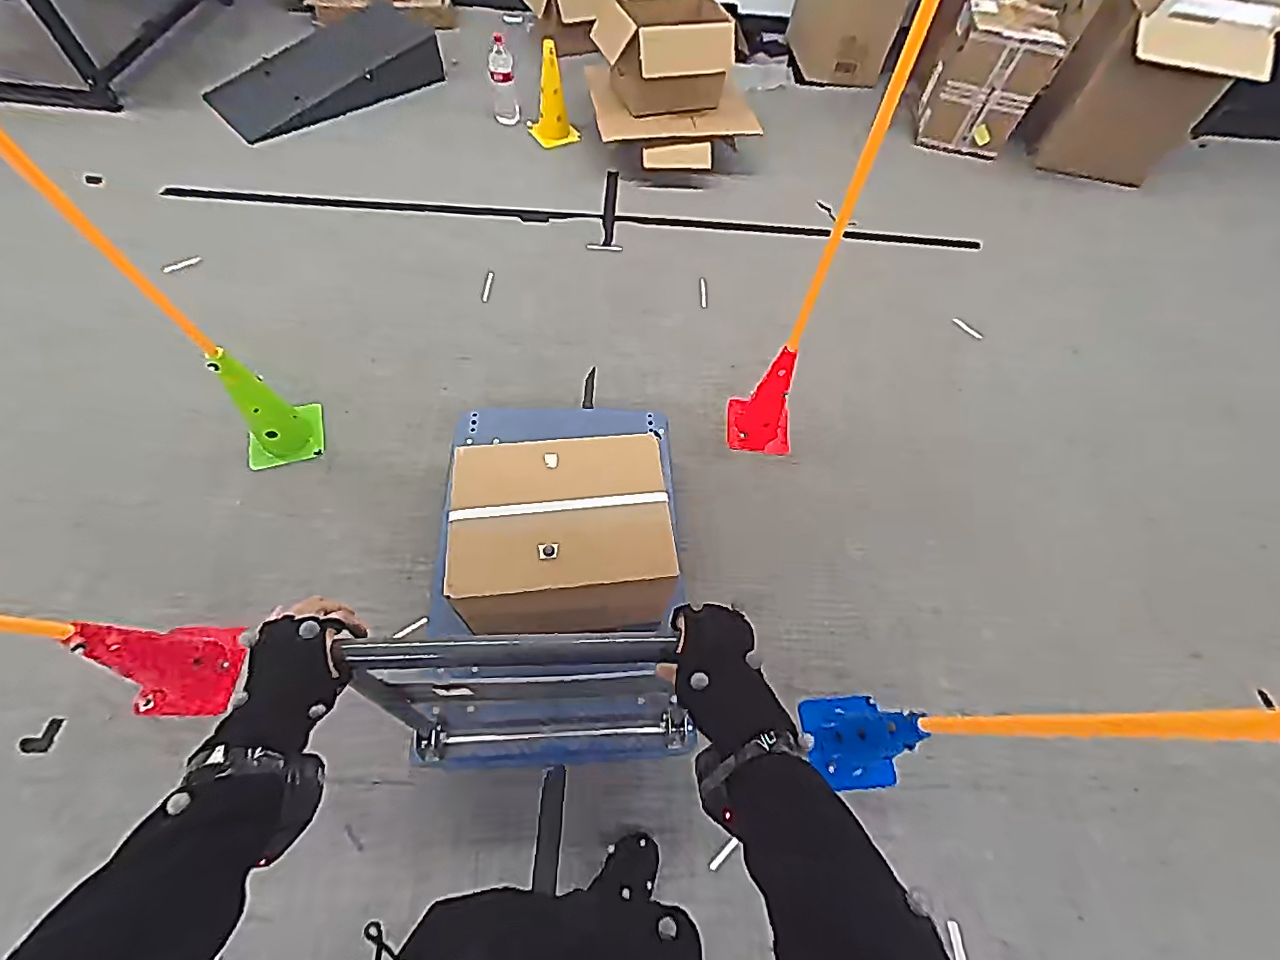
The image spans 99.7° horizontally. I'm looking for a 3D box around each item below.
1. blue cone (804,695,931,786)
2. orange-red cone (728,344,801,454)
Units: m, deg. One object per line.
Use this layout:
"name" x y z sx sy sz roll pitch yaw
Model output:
"blue cone" 0.509 0.530 1.146 0.193 0.380 0.192 -1 59 -5
"orange-red cone" 0.399 -0.262 1.583 0.199 0.360 0.198 9 60 0
